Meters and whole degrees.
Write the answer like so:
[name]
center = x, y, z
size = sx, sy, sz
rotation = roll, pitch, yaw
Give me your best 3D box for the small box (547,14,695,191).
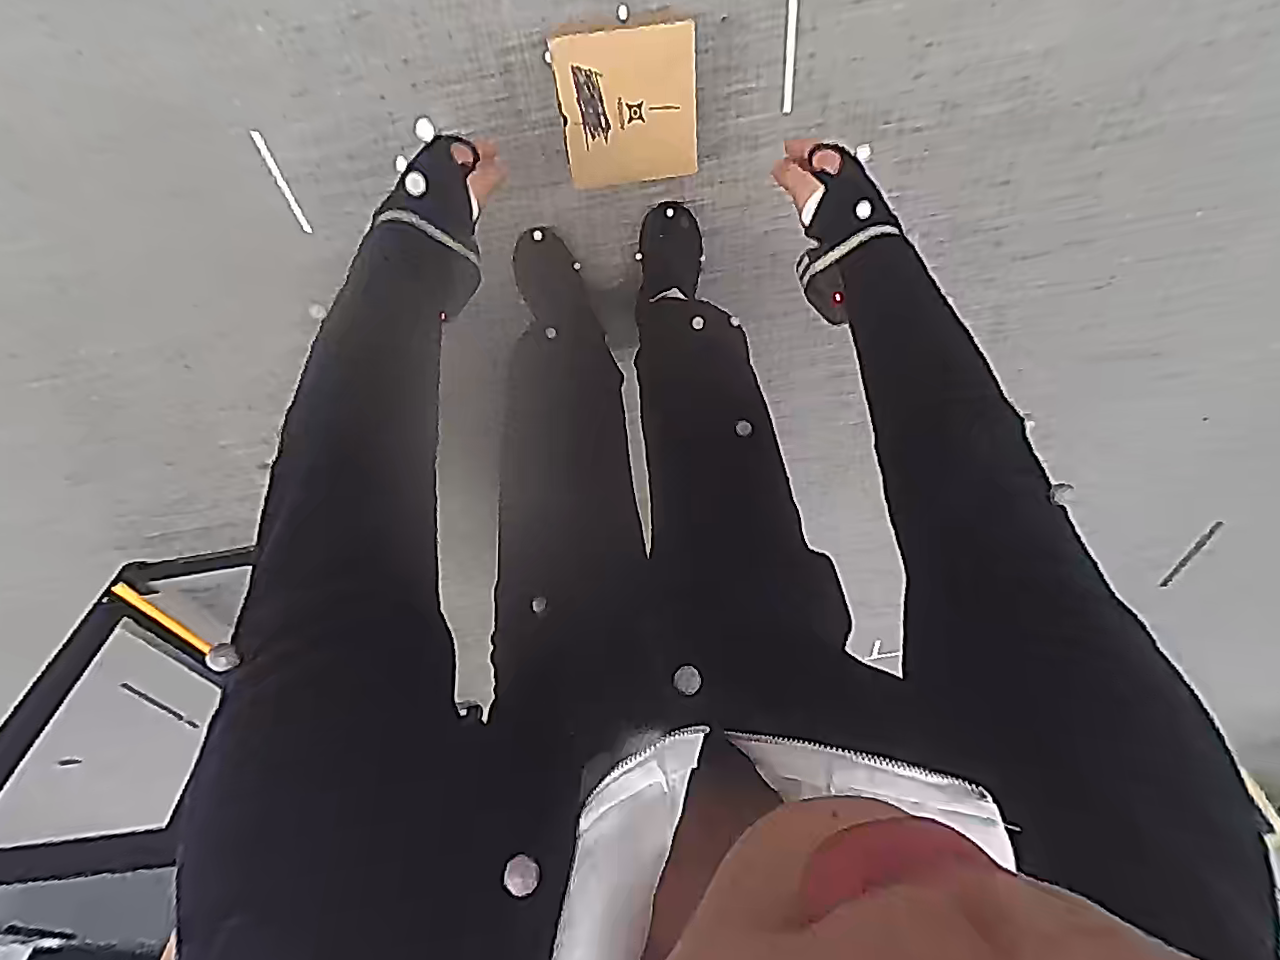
[small box]
center = -0.024, -0.519, 0.742
size = 0.179, 0.176, 0.168
rotation = -8, 135, 0
